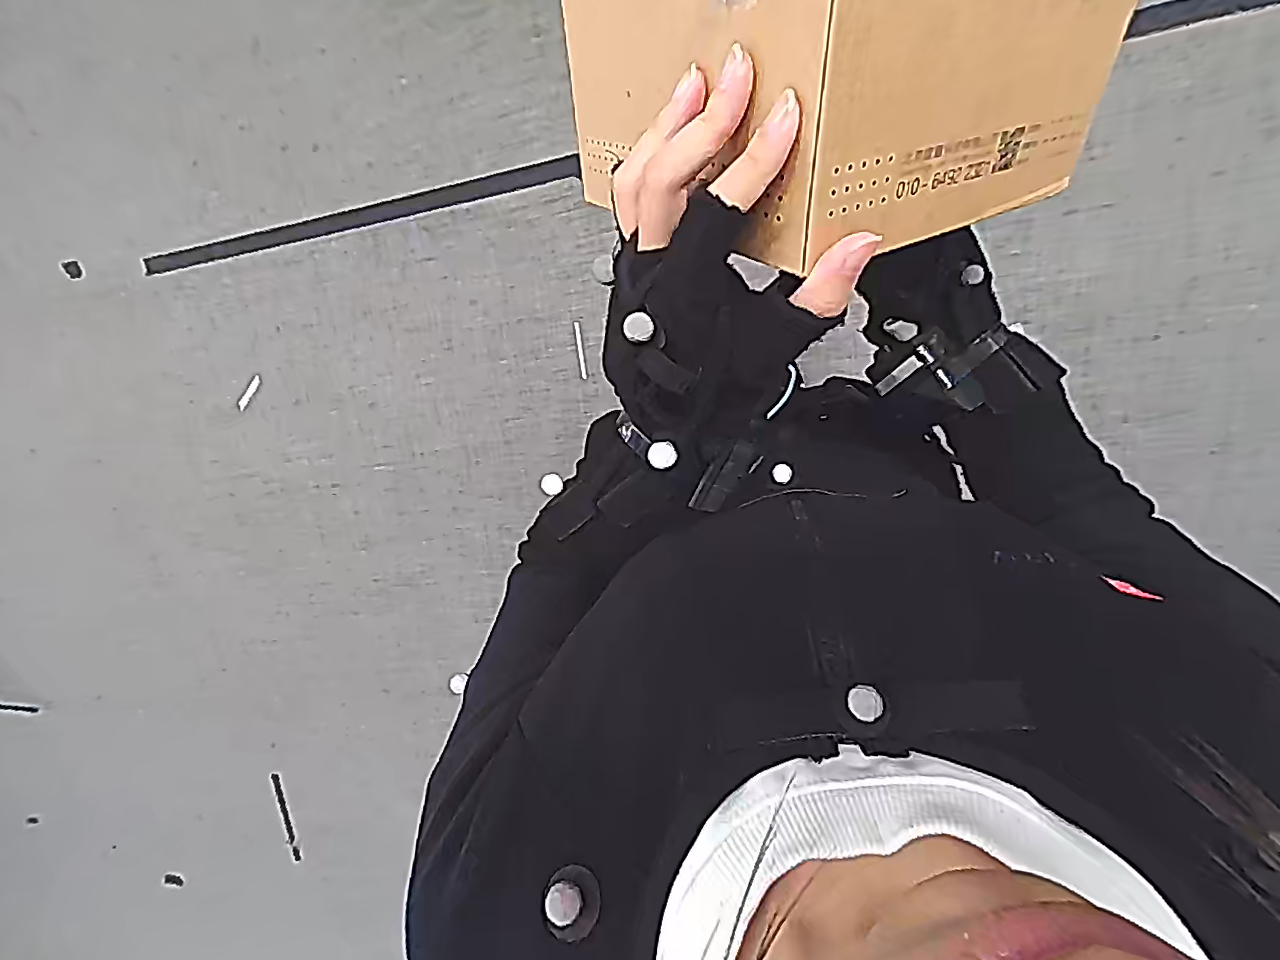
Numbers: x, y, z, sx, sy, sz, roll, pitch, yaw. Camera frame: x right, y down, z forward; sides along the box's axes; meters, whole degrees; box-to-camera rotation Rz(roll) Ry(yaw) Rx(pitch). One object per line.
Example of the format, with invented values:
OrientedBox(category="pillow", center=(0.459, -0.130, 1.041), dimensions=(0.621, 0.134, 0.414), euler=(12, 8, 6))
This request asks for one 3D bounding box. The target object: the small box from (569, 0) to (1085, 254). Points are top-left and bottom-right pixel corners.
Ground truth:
OrientedBox(category="small box", center=(0.077, -0.216, 0.248), dimensions=(0.168, 0.179, 0.176), euler=(-23, 132, -21))
